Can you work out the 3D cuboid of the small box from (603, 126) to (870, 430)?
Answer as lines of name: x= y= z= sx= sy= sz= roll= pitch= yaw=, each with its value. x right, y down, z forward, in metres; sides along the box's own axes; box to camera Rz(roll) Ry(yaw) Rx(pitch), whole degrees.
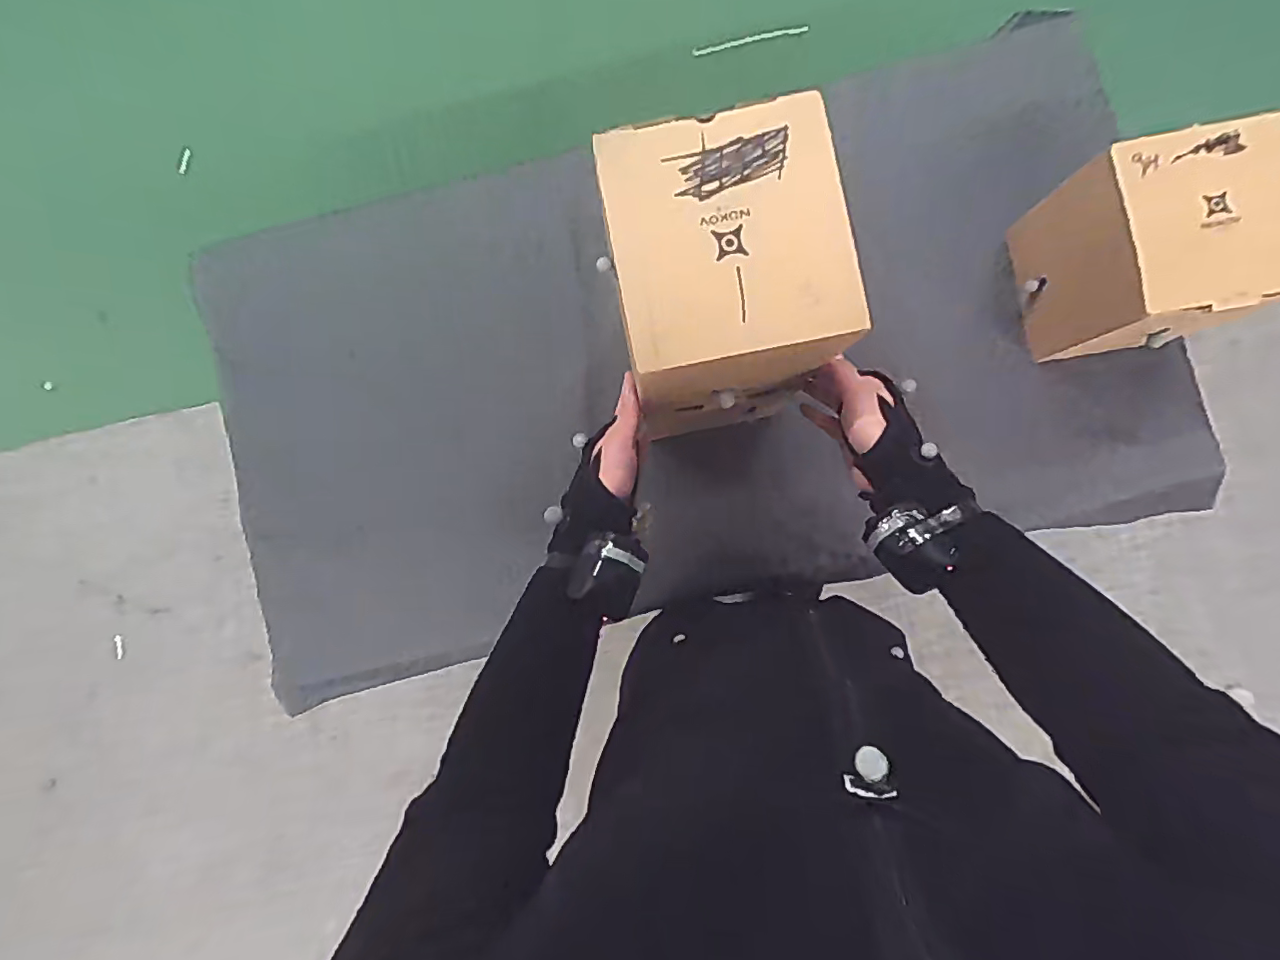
small box: x=0.068 y=-0.152 z=0.464 sx=0.168 sy=0.176 sz=0.179 roll=-11 pitch=87 yaw=1

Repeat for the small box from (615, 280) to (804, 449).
small box: x=0.074 y=-0.138 z=0.628 sx=0.168 sy=0.176 sz=0.179 roll=-12 pitch=85 yaw=1

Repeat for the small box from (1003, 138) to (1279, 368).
small box: x=0.552 y=-0.234 z=0.607 sx=0.168 sy=0.176 sz=0.179 roll=-10 pitch=87 yaw=3
